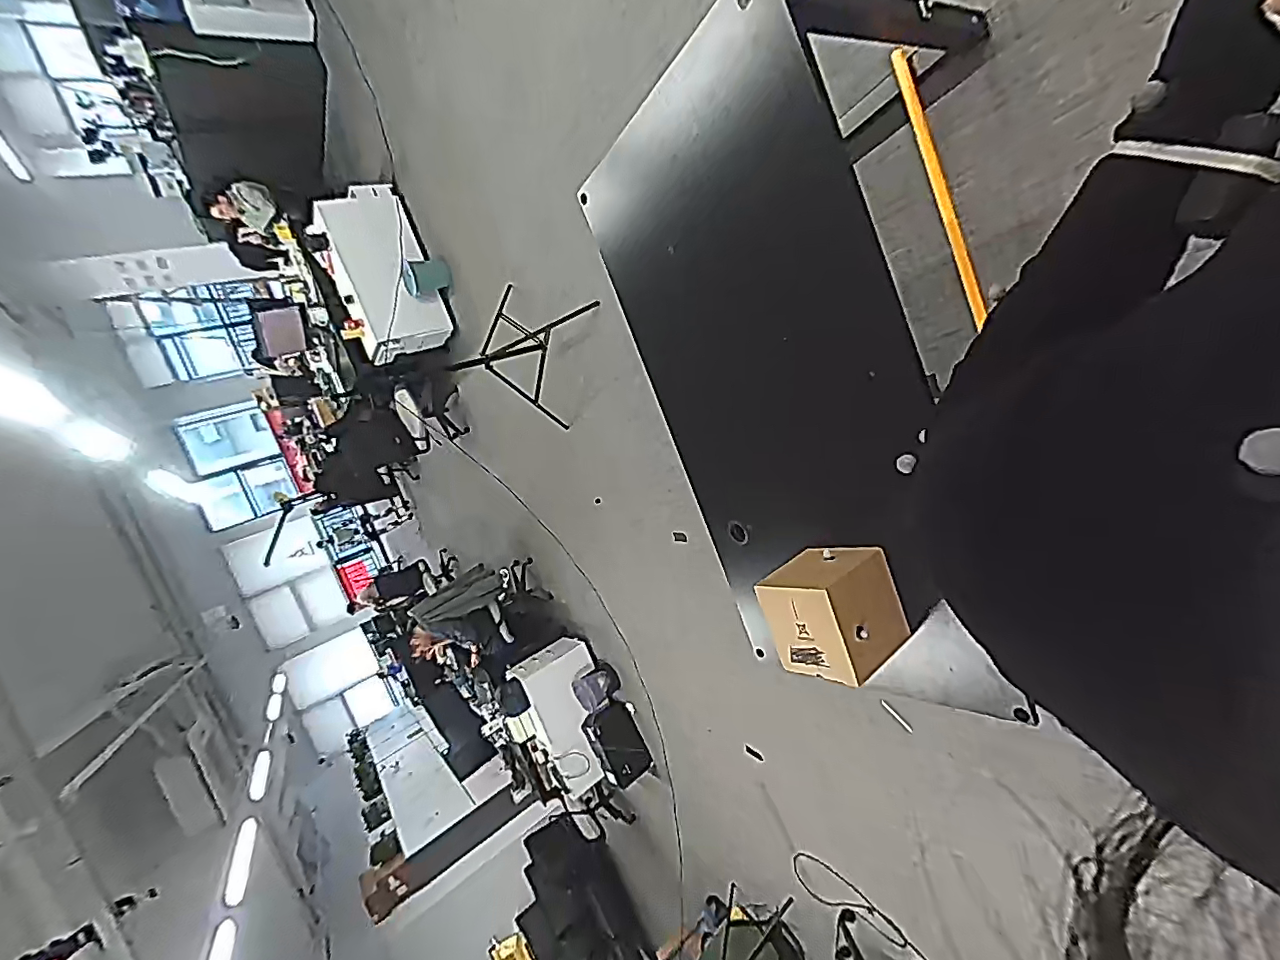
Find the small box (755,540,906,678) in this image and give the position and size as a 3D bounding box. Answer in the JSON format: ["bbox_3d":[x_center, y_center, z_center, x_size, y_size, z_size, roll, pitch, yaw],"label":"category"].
[{"bbox_3d":[0.347,0.222,0.977,0.168,0.176,0.179,-12,100,57],"label":"small box"}]
